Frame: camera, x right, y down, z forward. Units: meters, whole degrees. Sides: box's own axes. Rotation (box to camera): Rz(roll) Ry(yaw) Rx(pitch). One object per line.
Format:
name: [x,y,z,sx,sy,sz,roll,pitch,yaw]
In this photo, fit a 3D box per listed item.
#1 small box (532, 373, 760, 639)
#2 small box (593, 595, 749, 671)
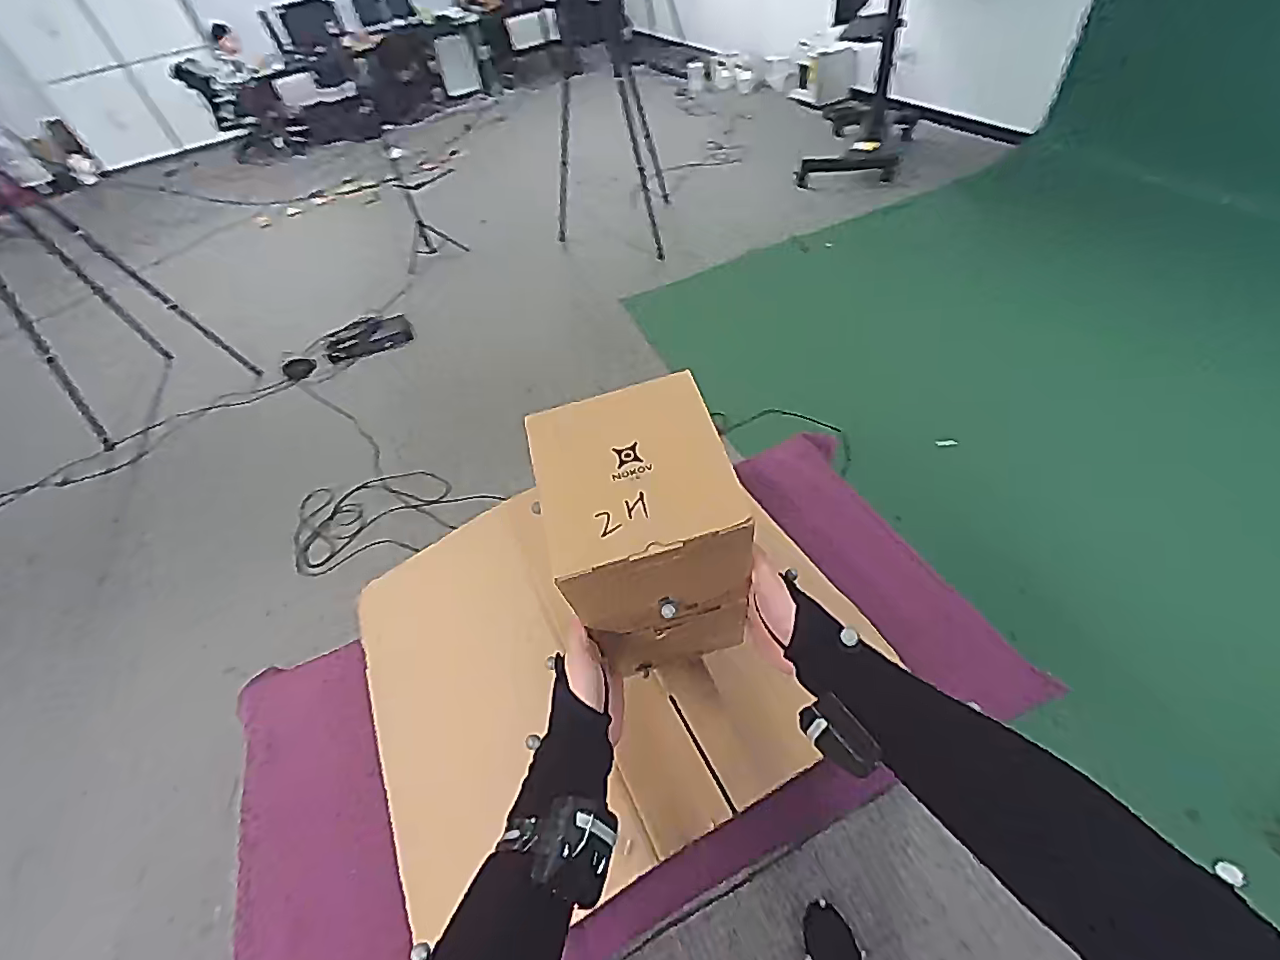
small box: [0.005,0.031,0.525,0.168,0.176,0.179,-16,57,-1]
small box: [0.027,0.120,0.661,0.168,0.176,0.179,-15,56,-1]
